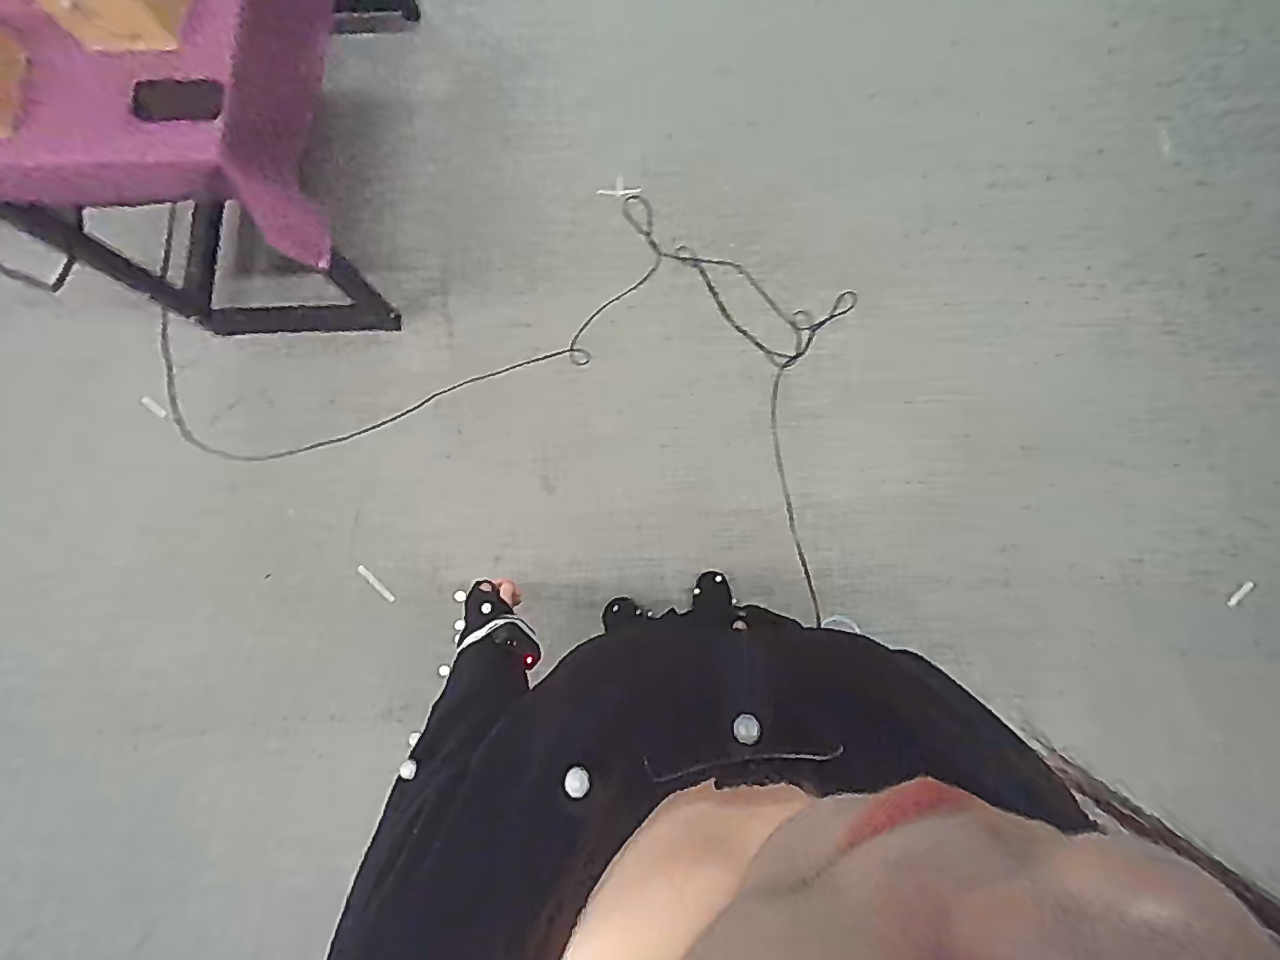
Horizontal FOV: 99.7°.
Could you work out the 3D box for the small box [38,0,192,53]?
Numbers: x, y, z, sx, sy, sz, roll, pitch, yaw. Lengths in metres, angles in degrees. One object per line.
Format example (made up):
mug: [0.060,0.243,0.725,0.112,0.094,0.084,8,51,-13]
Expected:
small box: [-0.902,-0.860,0.906,0.168,0.176,0.179,0,79,1]
